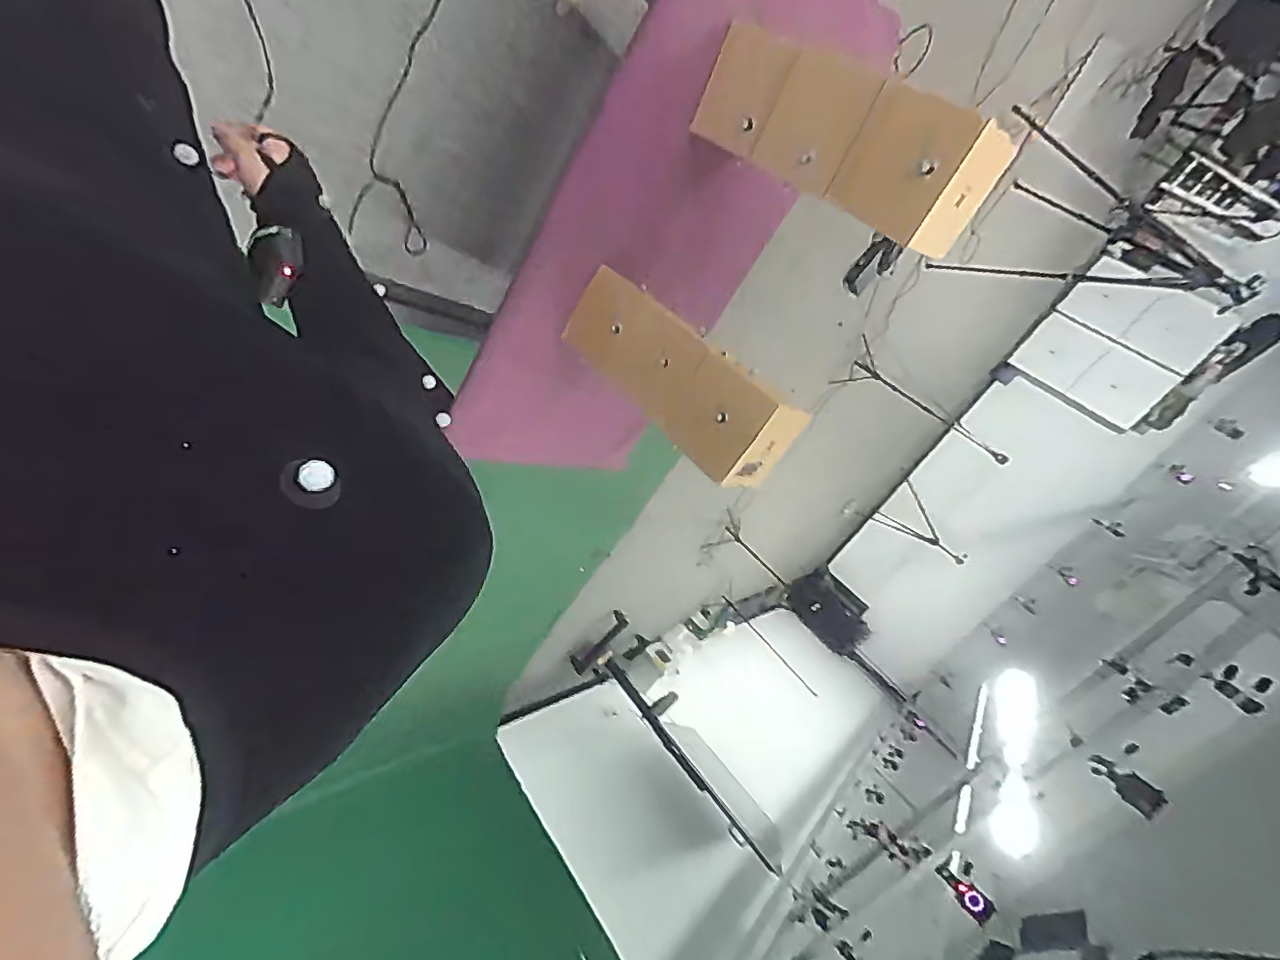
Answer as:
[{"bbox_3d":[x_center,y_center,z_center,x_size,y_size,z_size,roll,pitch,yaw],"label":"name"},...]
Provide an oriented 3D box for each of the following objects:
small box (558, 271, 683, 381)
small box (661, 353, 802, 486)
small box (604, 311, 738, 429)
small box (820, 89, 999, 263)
[{"bbox_3d":[-0.046,-0.315,1.160,0.179,0.176,0.168,-55,152,18],"label":"small box"},{"bbox_3d":[0.164,-0.108,1.016,0.168,0.176,0.179,2,126,-55],"label":"small box"},{"bbox_3d":[0.059,-0.213,1.088,0.168,0.176,0.179,5,124,-56],"label":"small box"},{"bbox_3d":[0.414,-0.474,0.857,0.168,0.176,0.179,-14,140,-45],"label":"small box"}]
